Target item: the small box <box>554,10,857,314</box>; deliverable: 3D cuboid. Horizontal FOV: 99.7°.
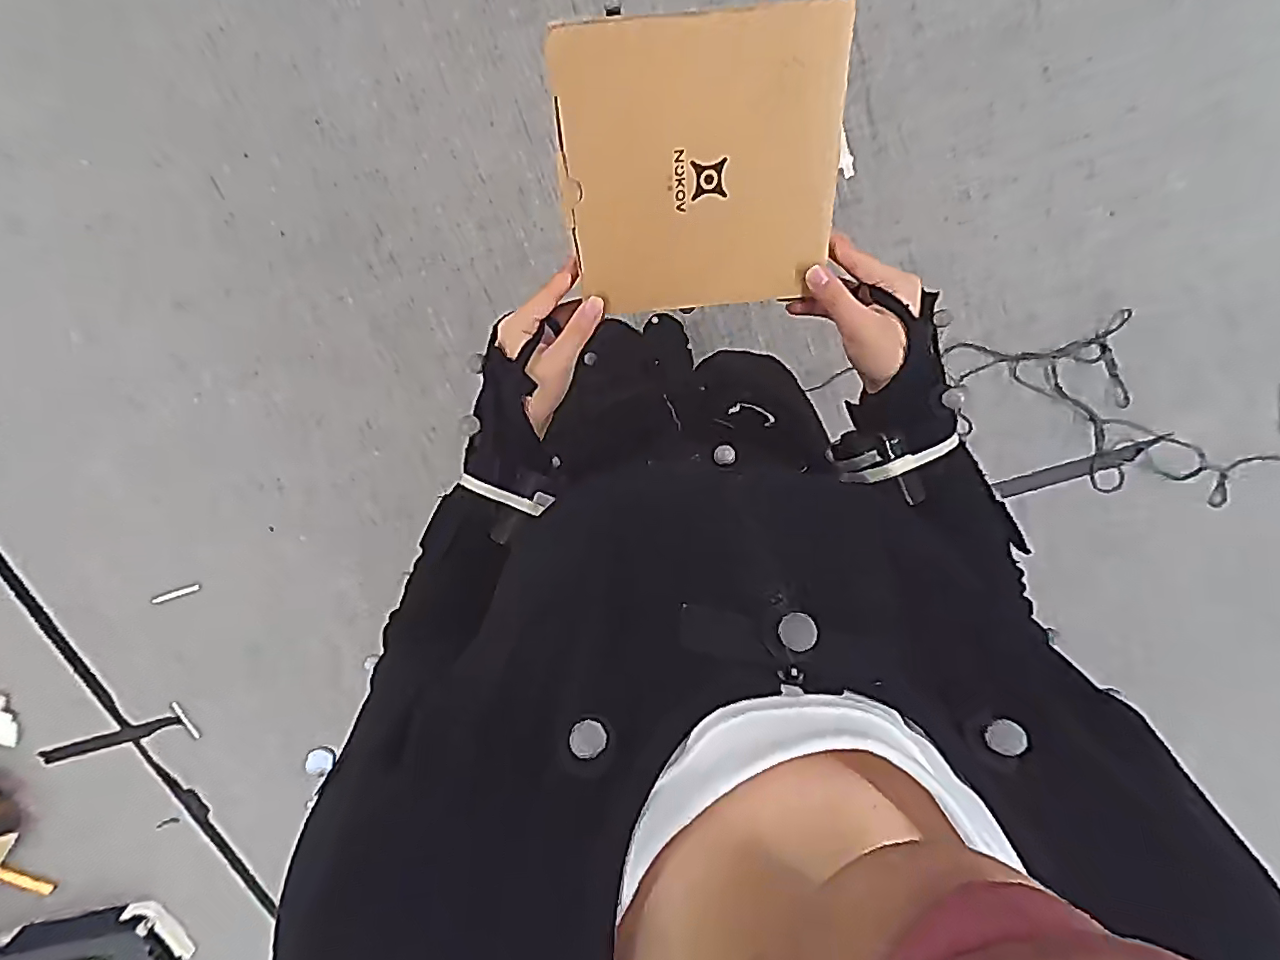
[{"bbox_3d":[0.038,-0.241,0.414,0.179,0.176,0.168,-4,126,1],"label":"small box"}]
